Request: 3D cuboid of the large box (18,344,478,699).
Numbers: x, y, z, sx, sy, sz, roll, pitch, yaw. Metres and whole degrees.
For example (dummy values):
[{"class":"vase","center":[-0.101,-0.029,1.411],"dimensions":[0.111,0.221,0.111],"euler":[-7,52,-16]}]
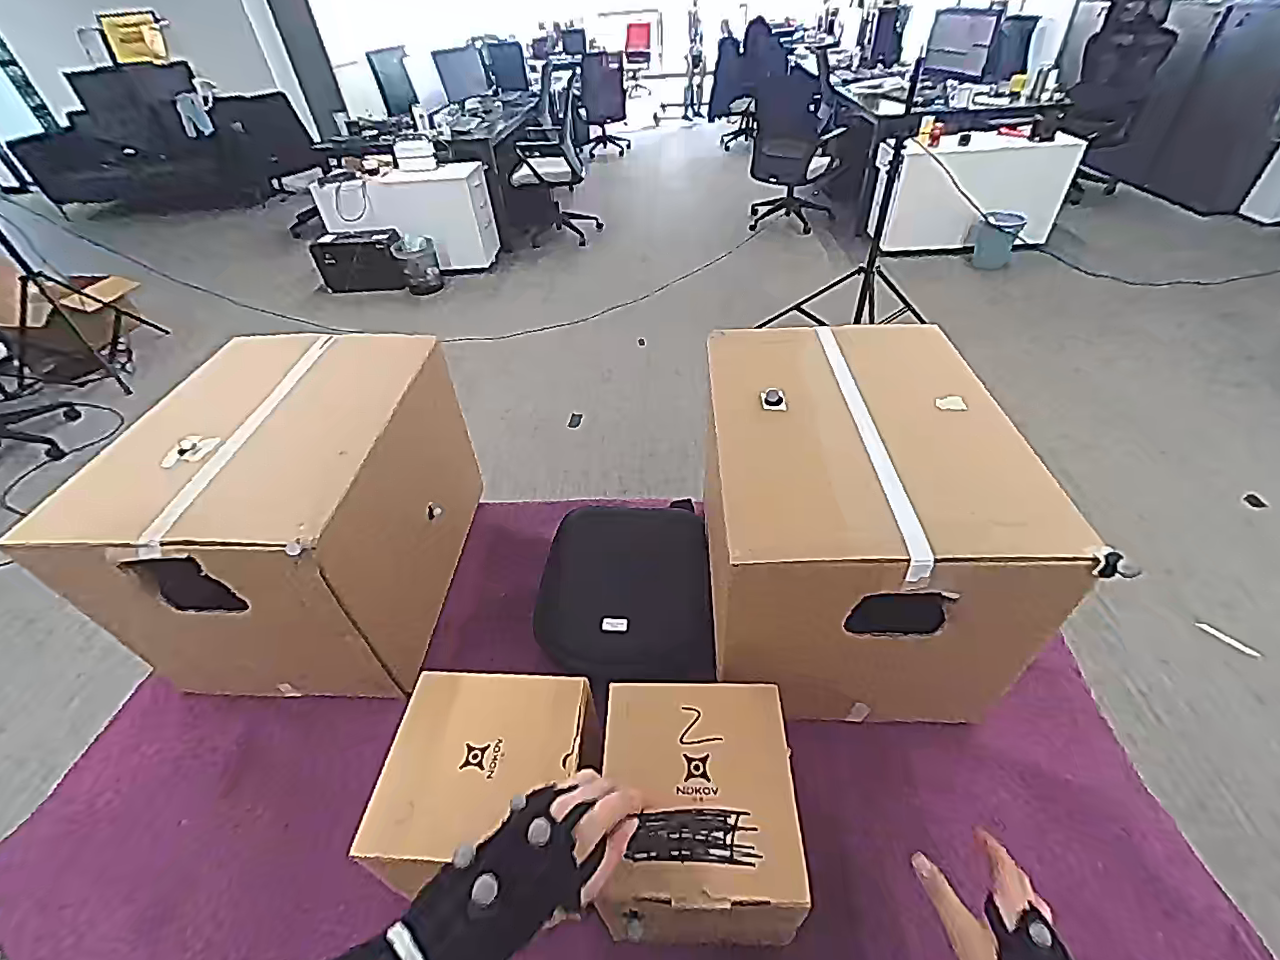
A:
[{"class":"large box","center":[-0.449,0.048,0.762],"dimensions":[0.320,0.320,0.408],"euler":[-1,44,2]}]
